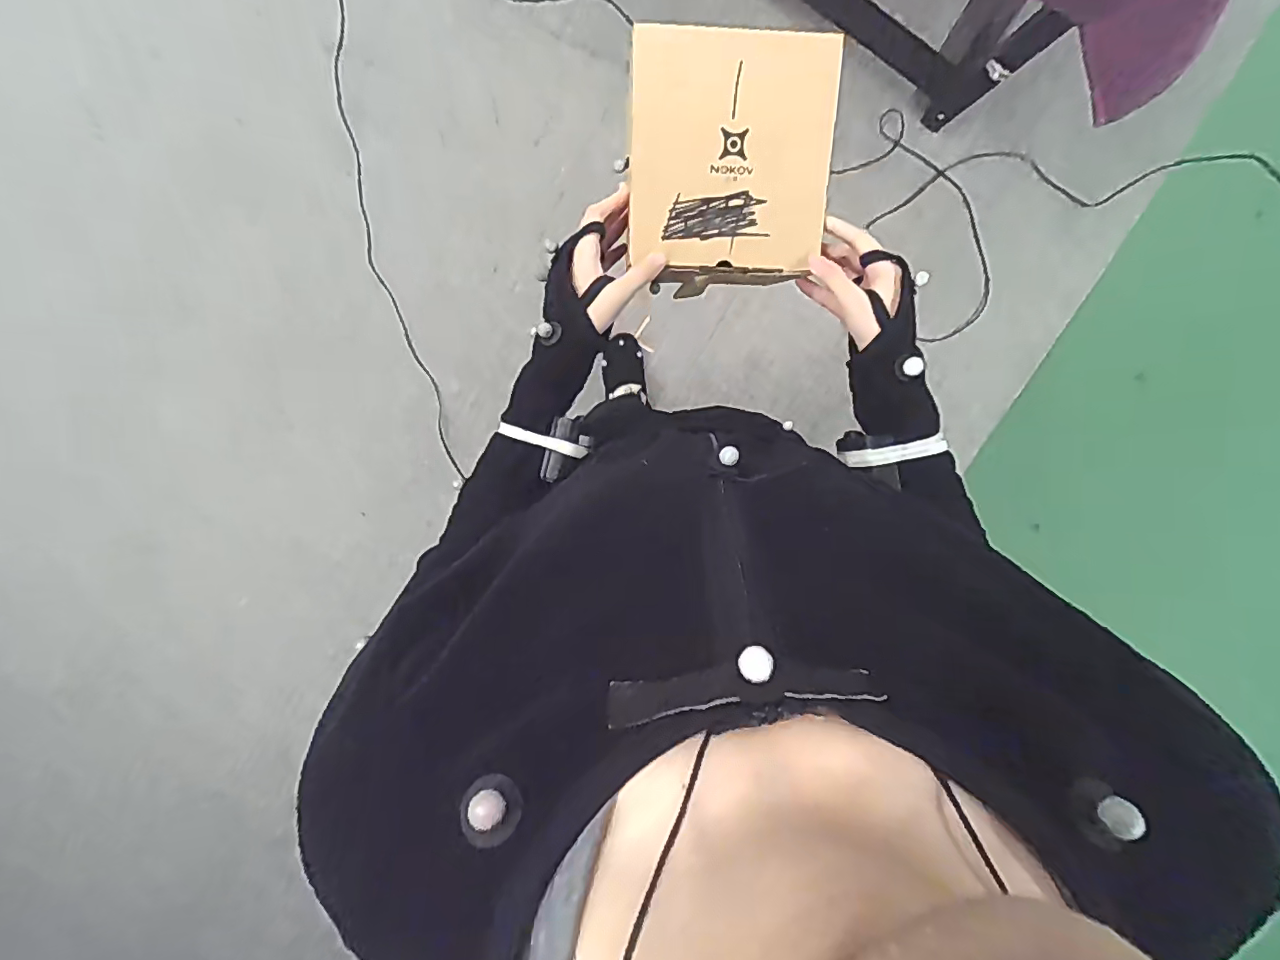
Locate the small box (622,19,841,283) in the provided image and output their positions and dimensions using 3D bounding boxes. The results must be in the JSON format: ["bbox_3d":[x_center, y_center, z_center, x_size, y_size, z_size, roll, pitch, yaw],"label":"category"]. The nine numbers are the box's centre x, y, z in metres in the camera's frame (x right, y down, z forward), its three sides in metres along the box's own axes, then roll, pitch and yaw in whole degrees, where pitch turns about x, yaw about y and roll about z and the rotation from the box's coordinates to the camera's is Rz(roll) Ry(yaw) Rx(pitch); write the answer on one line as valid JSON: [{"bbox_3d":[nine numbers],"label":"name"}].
[{"bbox_3d":[0.069,-0.287,0.515,0.168,0.176,0.179,1,105,-4],"label":"small box"}]
